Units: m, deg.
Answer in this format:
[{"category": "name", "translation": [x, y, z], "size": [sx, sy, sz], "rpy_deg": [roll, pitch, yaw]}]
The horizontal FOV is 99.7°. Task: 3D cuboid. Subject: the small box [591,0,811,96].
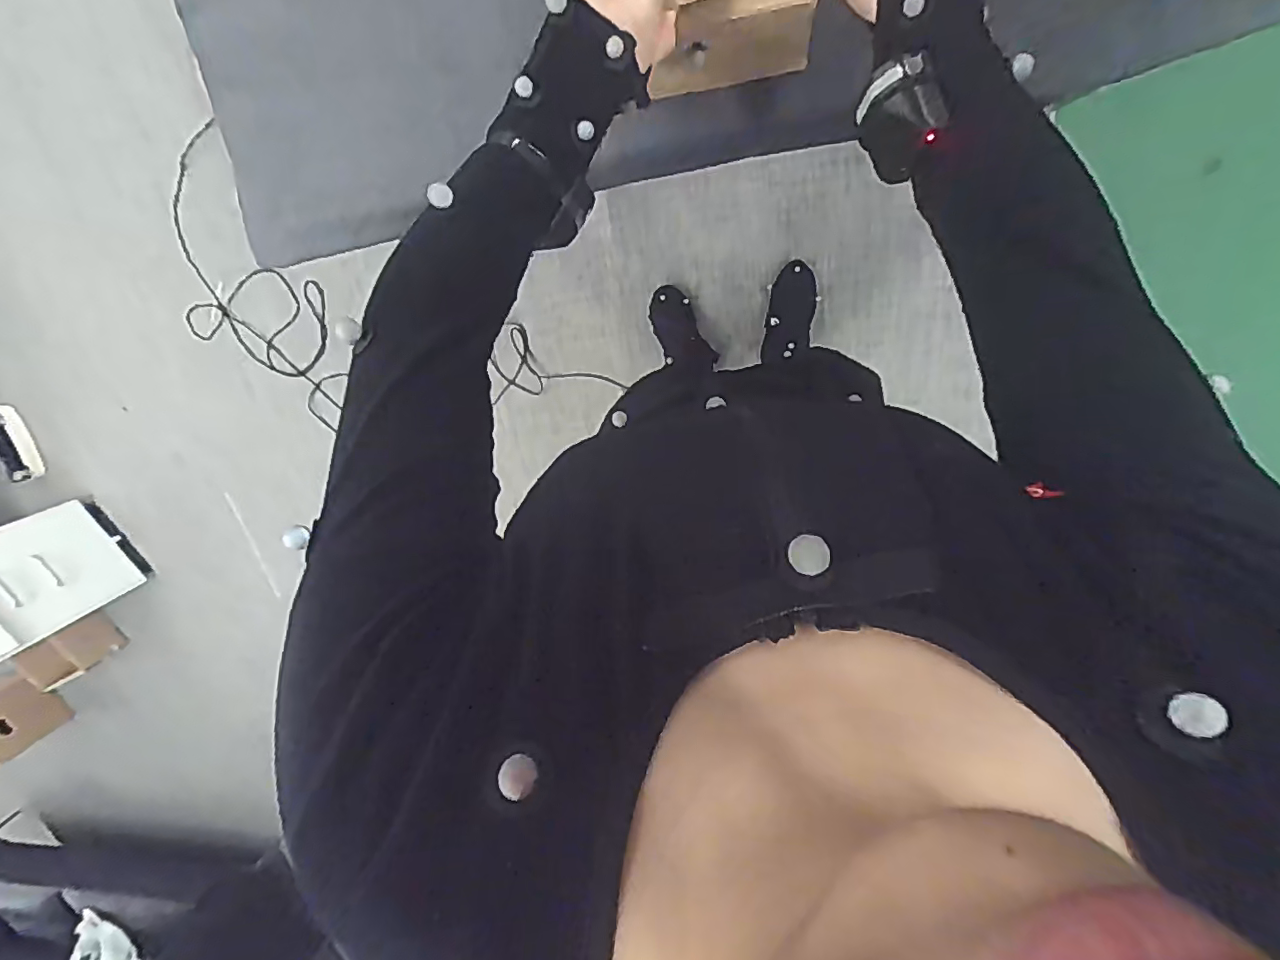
[{"category": "small box", "translation": [0.058, -0.462, 0.470], "size": [0.179, 0.176, 0.168], "rpy_deg": [-1, 112, 14]}]
